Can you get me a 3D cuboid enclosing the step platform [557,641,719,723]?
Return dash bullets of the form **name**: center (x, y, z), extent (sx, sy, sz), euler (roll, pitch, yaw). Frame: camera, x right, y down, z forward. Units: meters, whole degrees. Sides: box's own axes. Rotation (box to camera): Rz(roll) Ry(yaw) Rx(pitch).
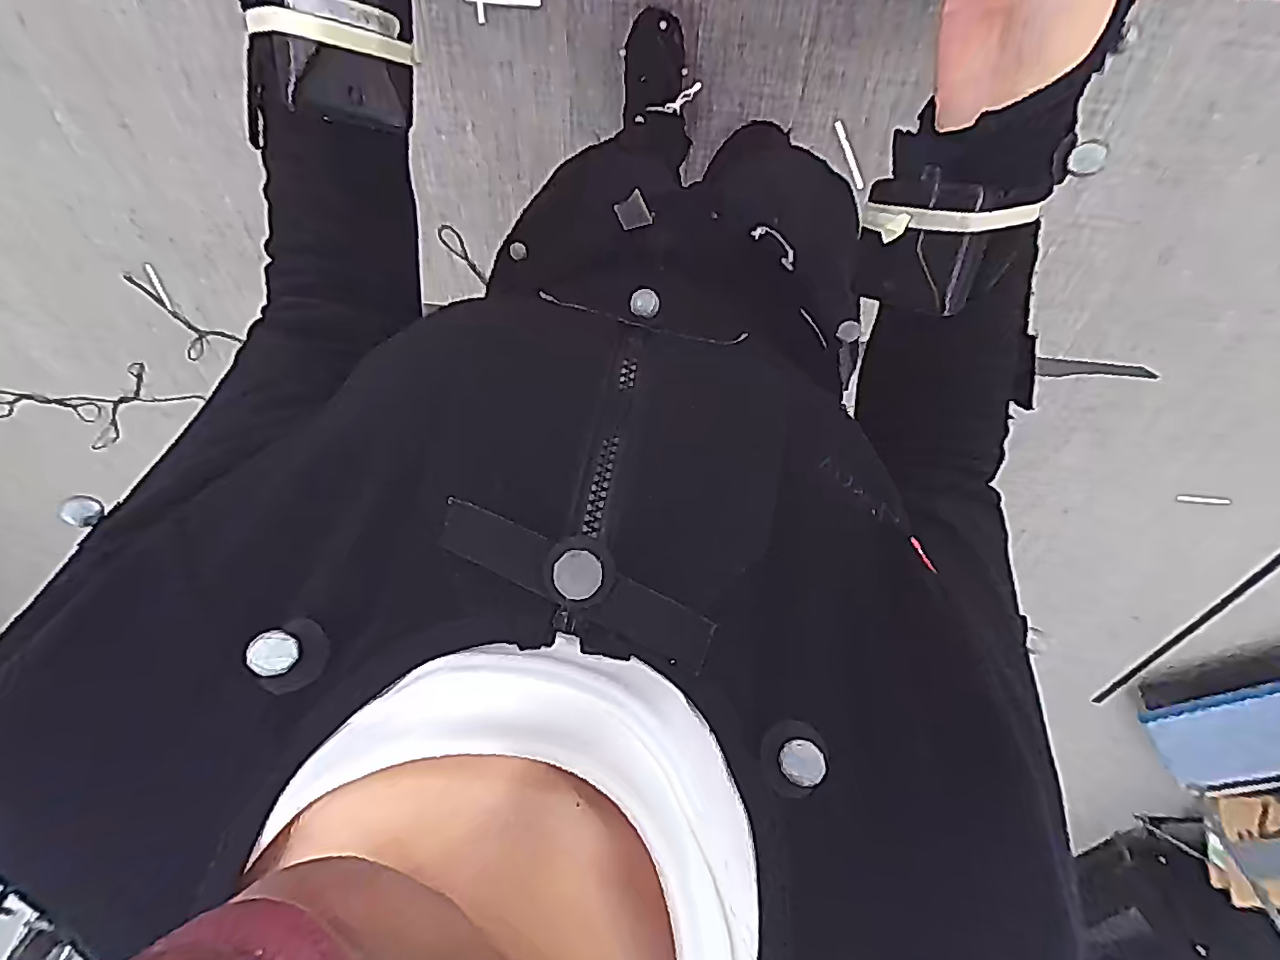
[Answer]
- **step platform**: center (-0.010, 0.866, 2.297), extent (0.684, 0.204, 0.286), euler (3, 132, -1)
